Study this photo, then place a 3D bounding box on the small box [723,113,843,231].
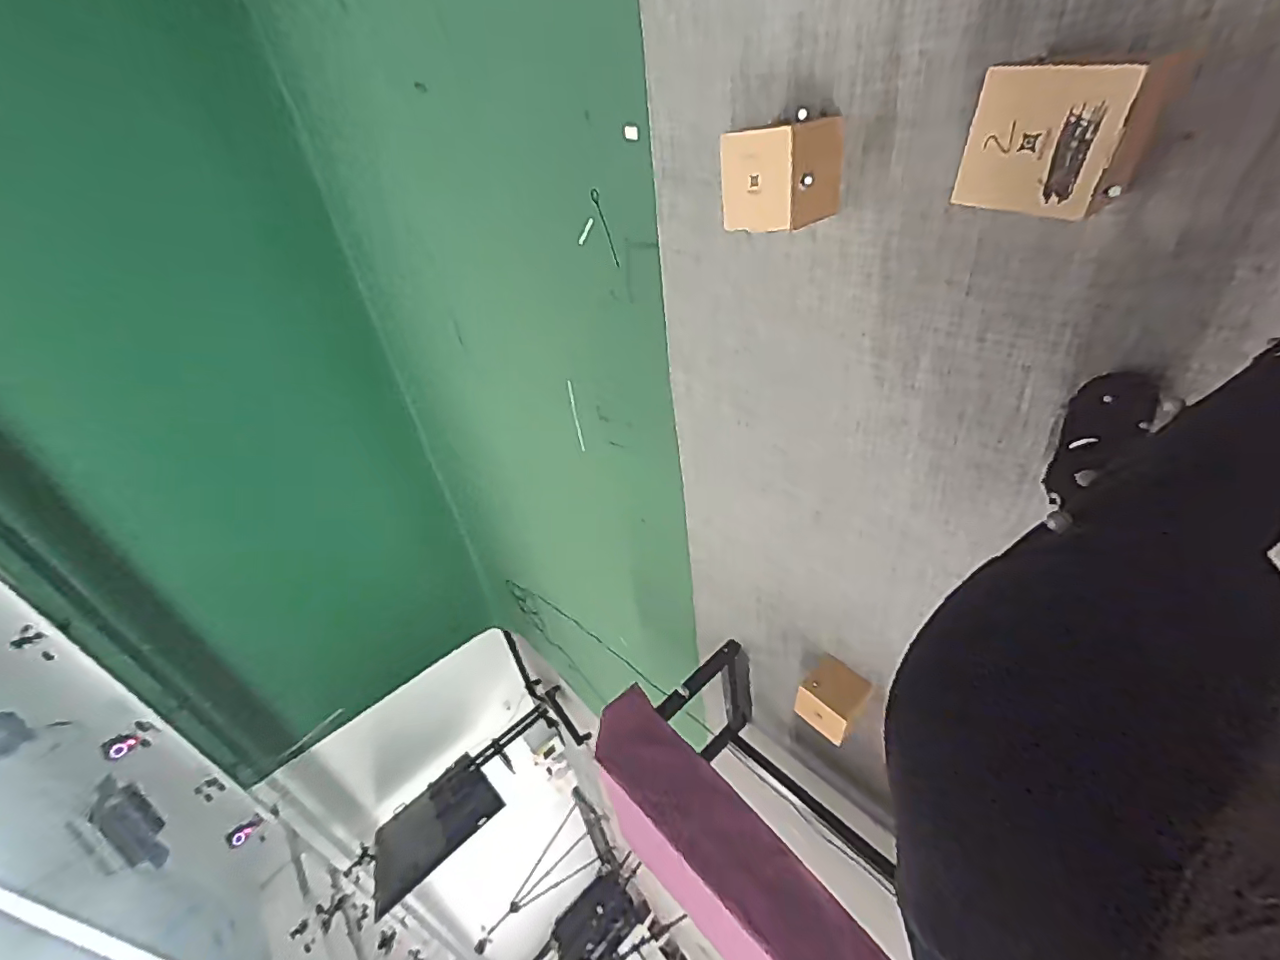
[{"bbox_3d":[0.284,-0.611,1.076,0.168,0.176,0.179,27,138,41],"label":"small box"}]
